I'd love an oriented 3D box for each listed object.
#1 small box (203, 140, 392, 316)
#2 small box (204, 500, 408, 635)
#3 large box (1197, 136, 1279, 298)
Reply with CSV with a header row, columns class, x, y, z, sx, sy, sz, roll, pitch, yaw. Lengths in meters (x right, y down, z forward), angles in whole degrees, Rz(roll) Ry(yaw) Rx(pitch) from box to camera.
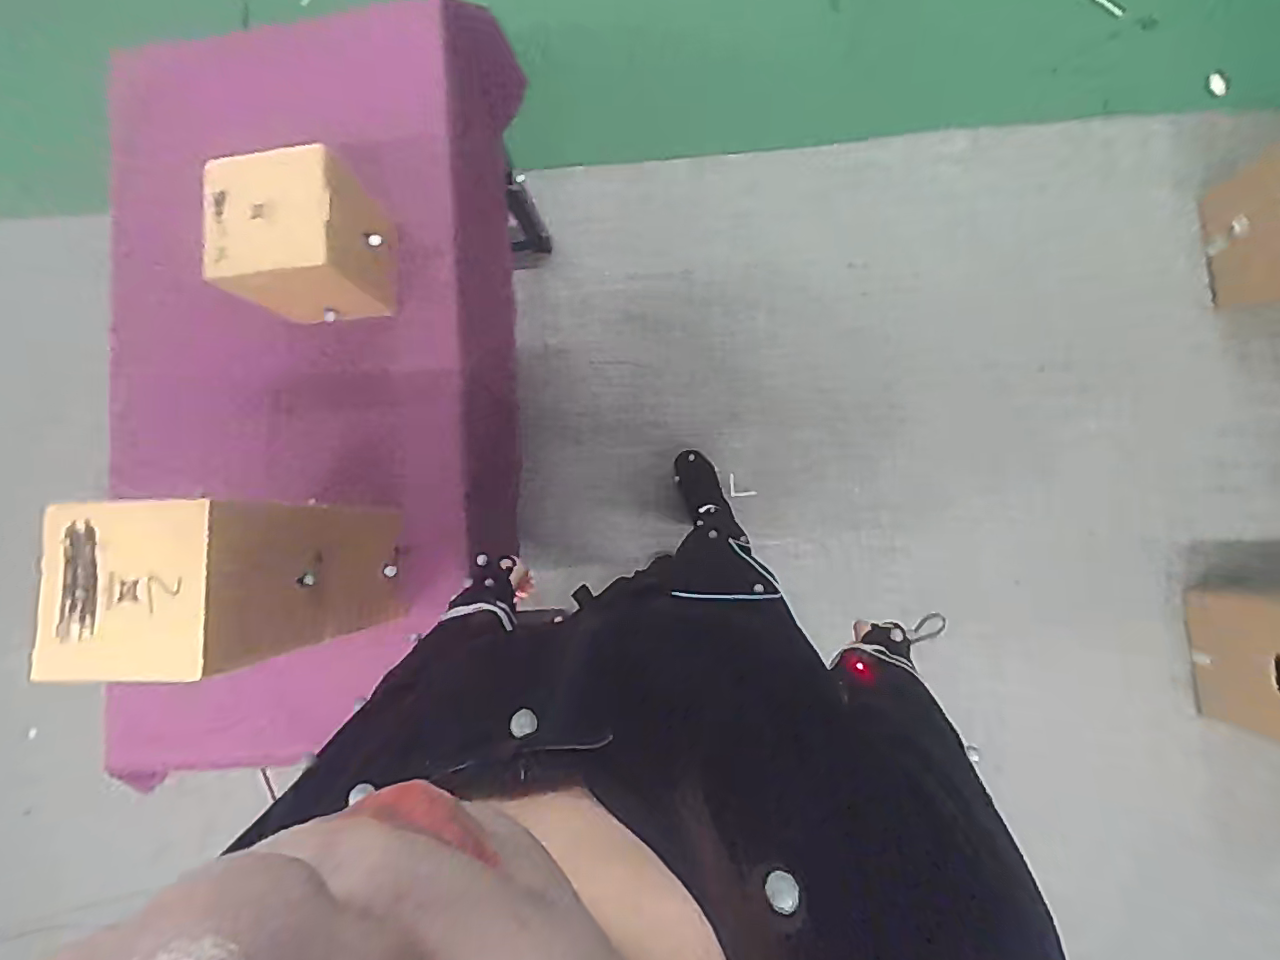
class,x,y,z,sx,sy,sz,roll,pitch,yaw
small box,-0.478,-0.350,0.780,0.179,0.176,0.168,-4,86,5
small box,-0.448,0.114,0.748,0.179,0.176,0.168,-2,86,5
large box,1.653,-0.642,1.245,0.408,0.320,0.320,-3,86,4
